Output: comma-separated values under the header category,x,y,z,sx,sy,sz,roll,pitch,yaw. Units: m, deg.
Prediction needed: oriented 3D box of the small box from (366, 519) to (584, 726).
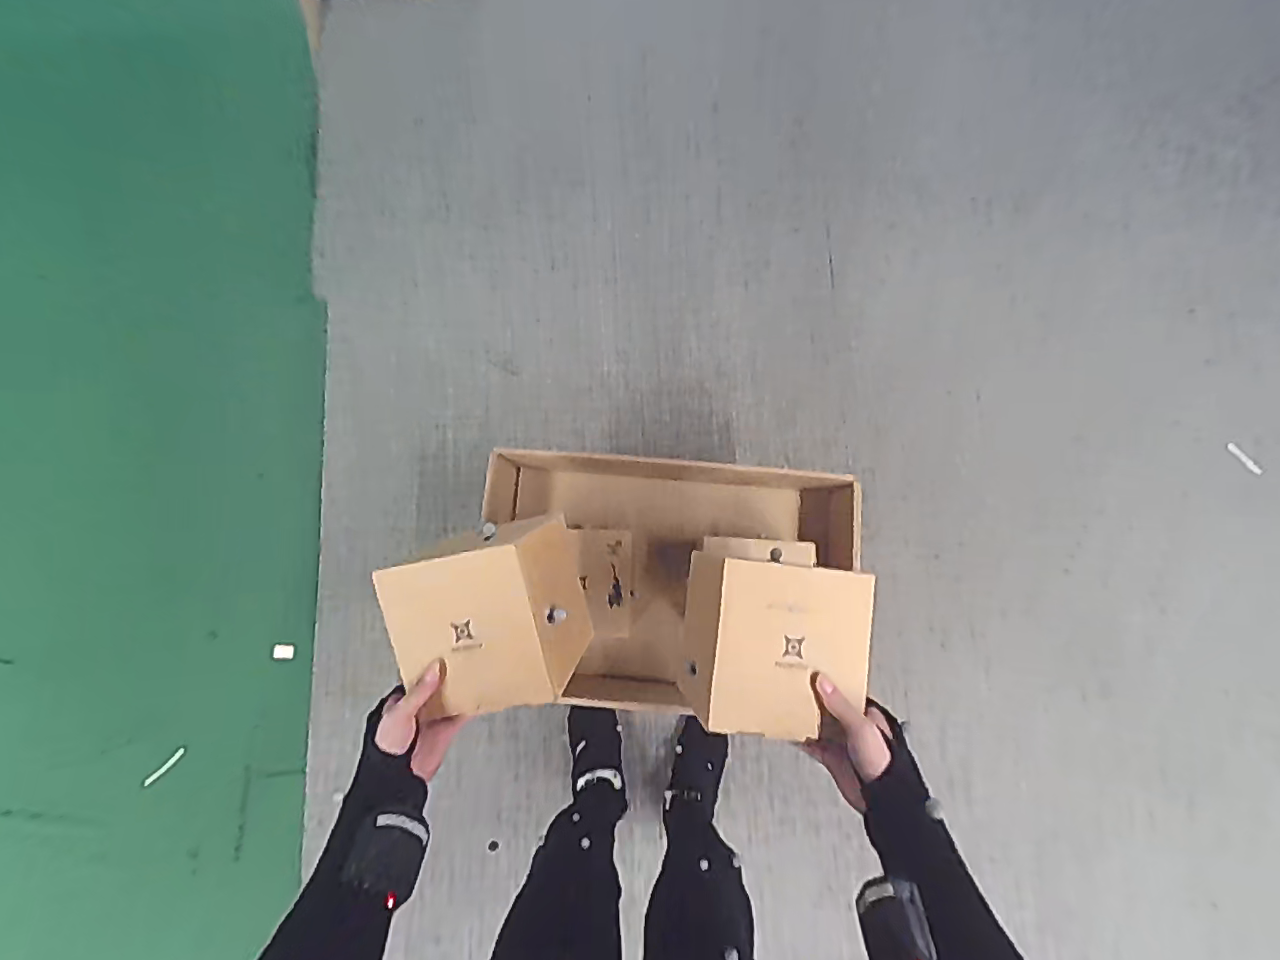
category,x,y,z,sx,sy,sz,roll,pitch,yaw
small box,-0.175,0.149,0.626,0.168,0.176,0.179,-12,97,8

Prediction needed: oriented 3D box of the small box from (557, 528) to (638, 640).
category,x,y,z,sx,sy,sz,roll,pitch,yaw
small box,-0.098,0.171,0.907,0.179,0.176,0.168,2,81,2

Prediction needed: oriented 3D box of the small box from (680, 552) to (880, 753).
category,x,y,z,sx,sy,sz,roll,pitch,yaw
small box,0.145,0.181,0.617,0.168,0.176,0.179,8,84,-6
